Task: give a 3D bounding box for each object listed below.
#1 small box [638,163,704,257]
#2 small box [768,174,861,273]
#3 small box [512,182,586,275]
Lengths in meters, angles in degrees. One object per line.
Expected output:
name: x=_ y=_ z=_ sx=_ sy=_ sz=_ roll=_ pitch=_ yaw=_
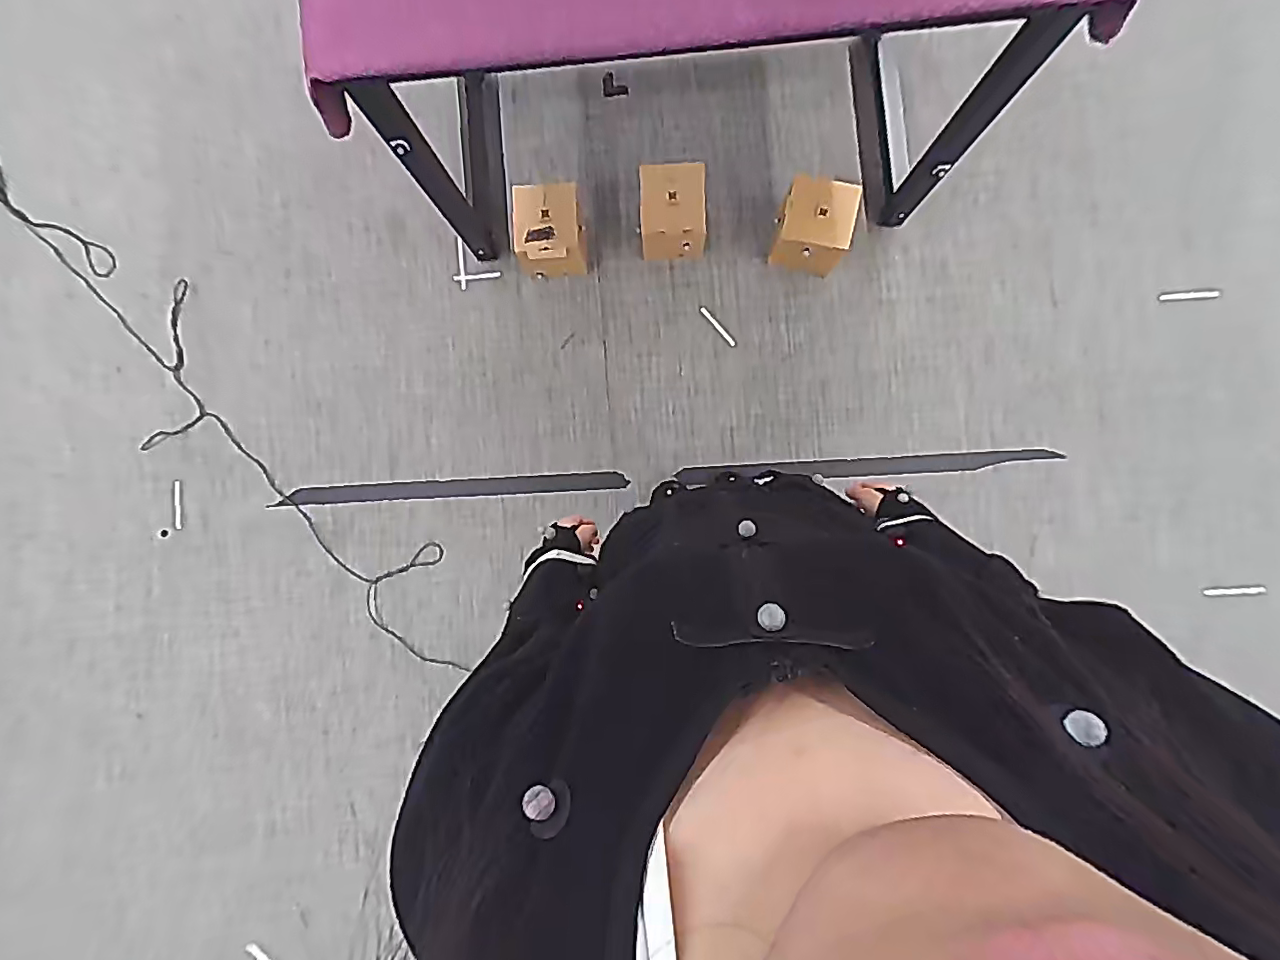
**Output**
small box: x=0.082 y=-0.709 z=1.442 sx=0.168 sy=0.176 sz=0.179 roll=-2 pitch=88 yaw=1
small box: x=0.453 y=-0.667 z=1.428 sx=0.179 sy=0.176 sz=0.168 roll=13 pitch=90 yaw=4
small box: x=-0.239 y=-0.665 z=1.452 sx=0.168 sy=0.176 sz=0.179 roll=-3 pitch=88 yaw=2
